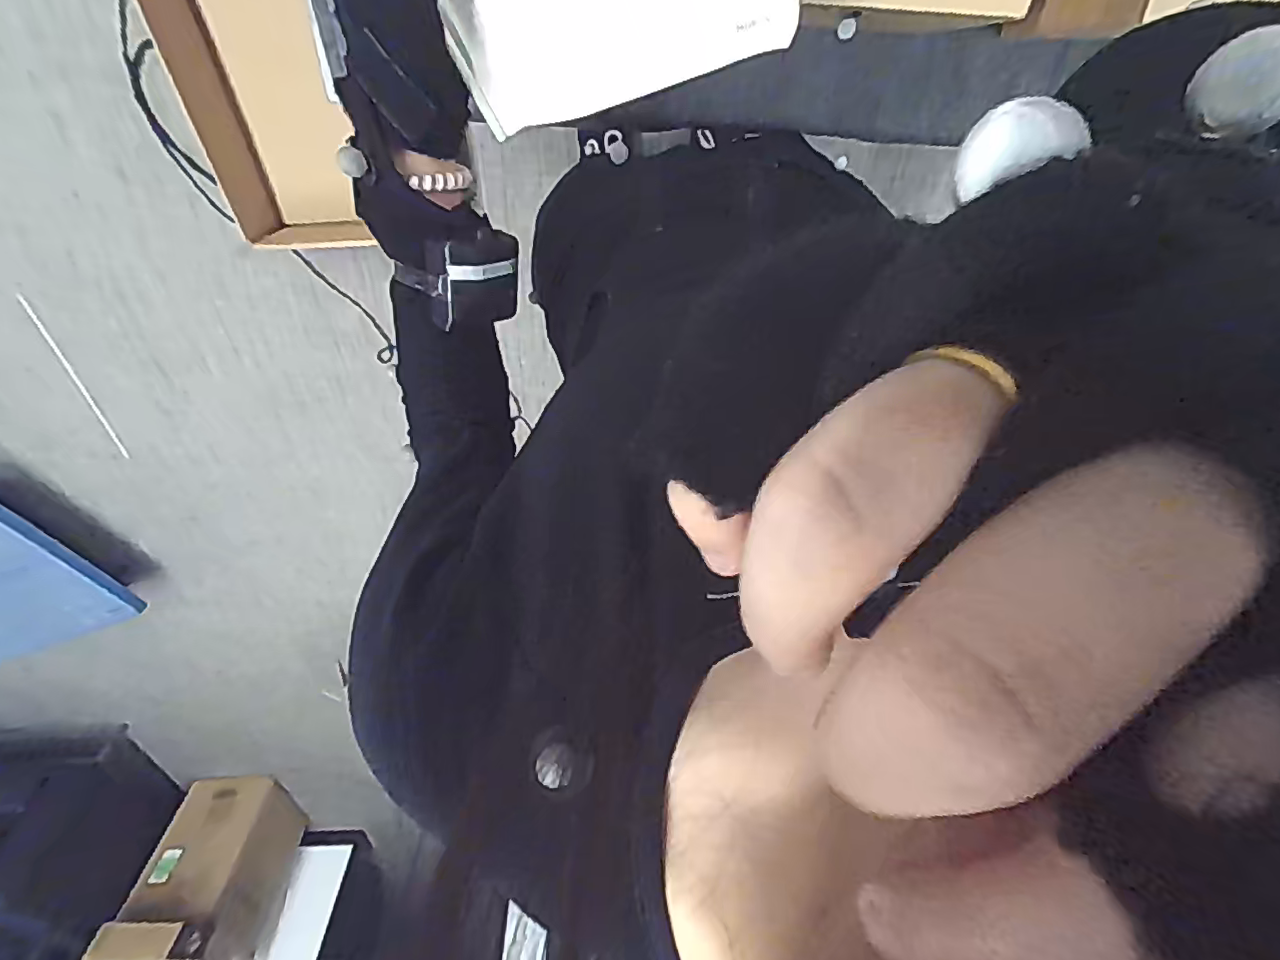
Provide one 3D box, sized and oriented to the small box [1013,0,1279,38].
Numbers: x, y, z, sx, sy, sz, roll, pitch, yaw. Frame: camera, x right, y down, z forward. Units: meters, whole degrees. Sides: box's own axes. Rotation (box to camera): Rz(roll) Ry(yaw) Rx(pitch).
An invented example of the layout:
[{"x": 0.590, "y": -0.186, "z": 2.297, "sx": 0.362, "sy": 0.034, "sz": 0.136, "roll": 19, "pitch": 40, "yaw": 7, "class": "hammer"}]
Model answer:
[{"x": 0.431, "y": -0.439, "z": 0.401, "sx": 0.179, "sy": 0.176, "sz": 0.168, "roll": -2, "pitch": 127, "yaw": -3, "class": "small box"}]
